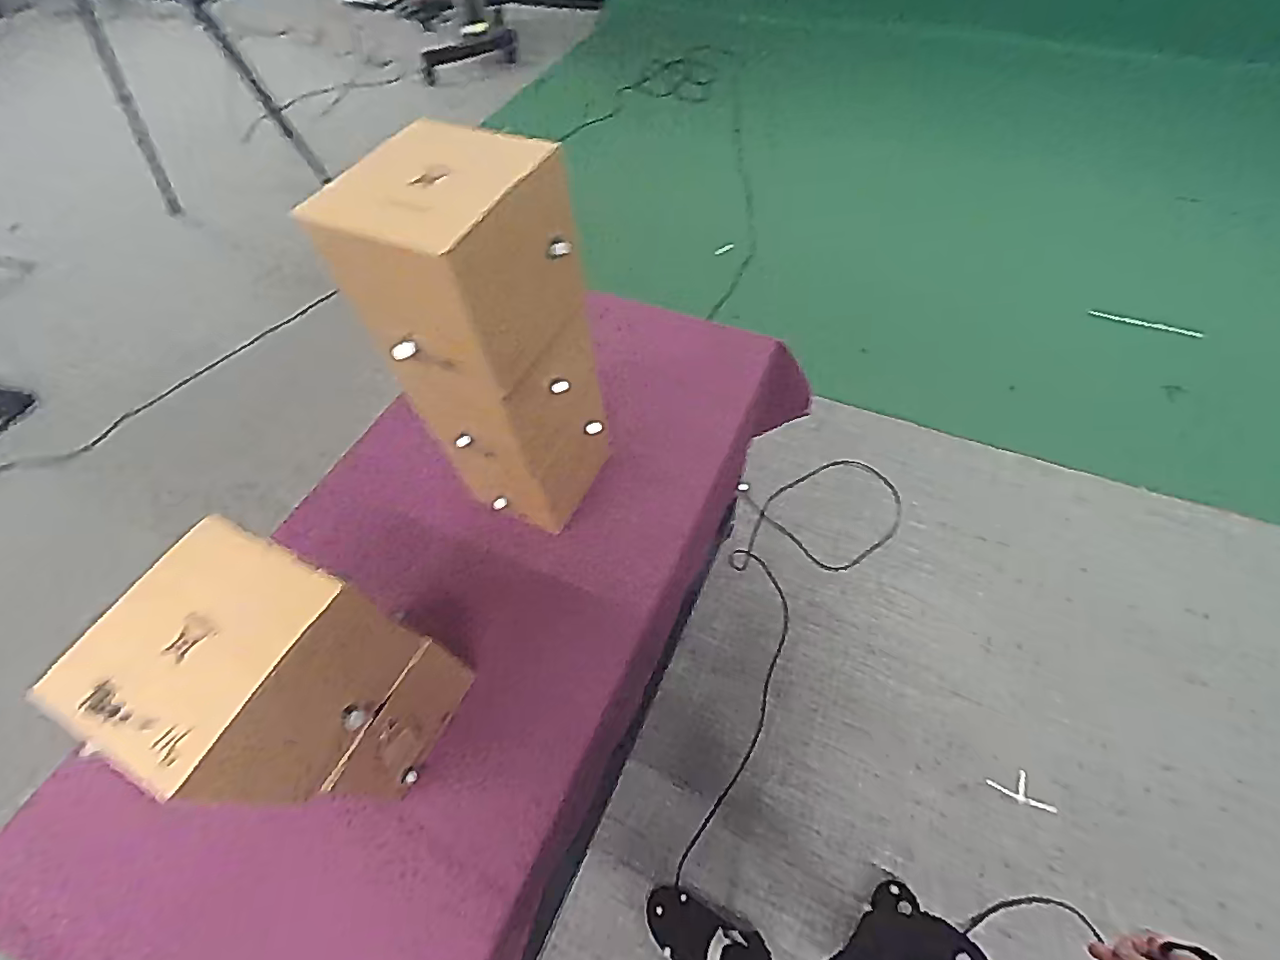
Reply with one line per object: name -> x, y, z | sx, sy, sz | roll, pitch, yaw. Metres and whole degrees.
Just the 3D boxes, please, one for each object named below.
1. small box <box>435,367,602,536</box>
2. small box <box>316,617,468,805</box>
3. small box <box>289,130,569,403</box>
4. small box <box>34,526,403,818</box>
small box -> -0.169, -0.045, 0.824 | 0.168, 0.176, 0.179 | 21, 61, 17
small box -> -0.336, 0.259, 0.640 | 0.179, 0.176, 0.168 | 19, 60, 17
small box -> -0.185, -0.210, 0.540 | 0.168, 0.176, 0.179 | 20, 61, 17
small box -> -0.350, 0.178, 0.497 | 0.168, 0.176, 0.179 | 21, 60, 17
